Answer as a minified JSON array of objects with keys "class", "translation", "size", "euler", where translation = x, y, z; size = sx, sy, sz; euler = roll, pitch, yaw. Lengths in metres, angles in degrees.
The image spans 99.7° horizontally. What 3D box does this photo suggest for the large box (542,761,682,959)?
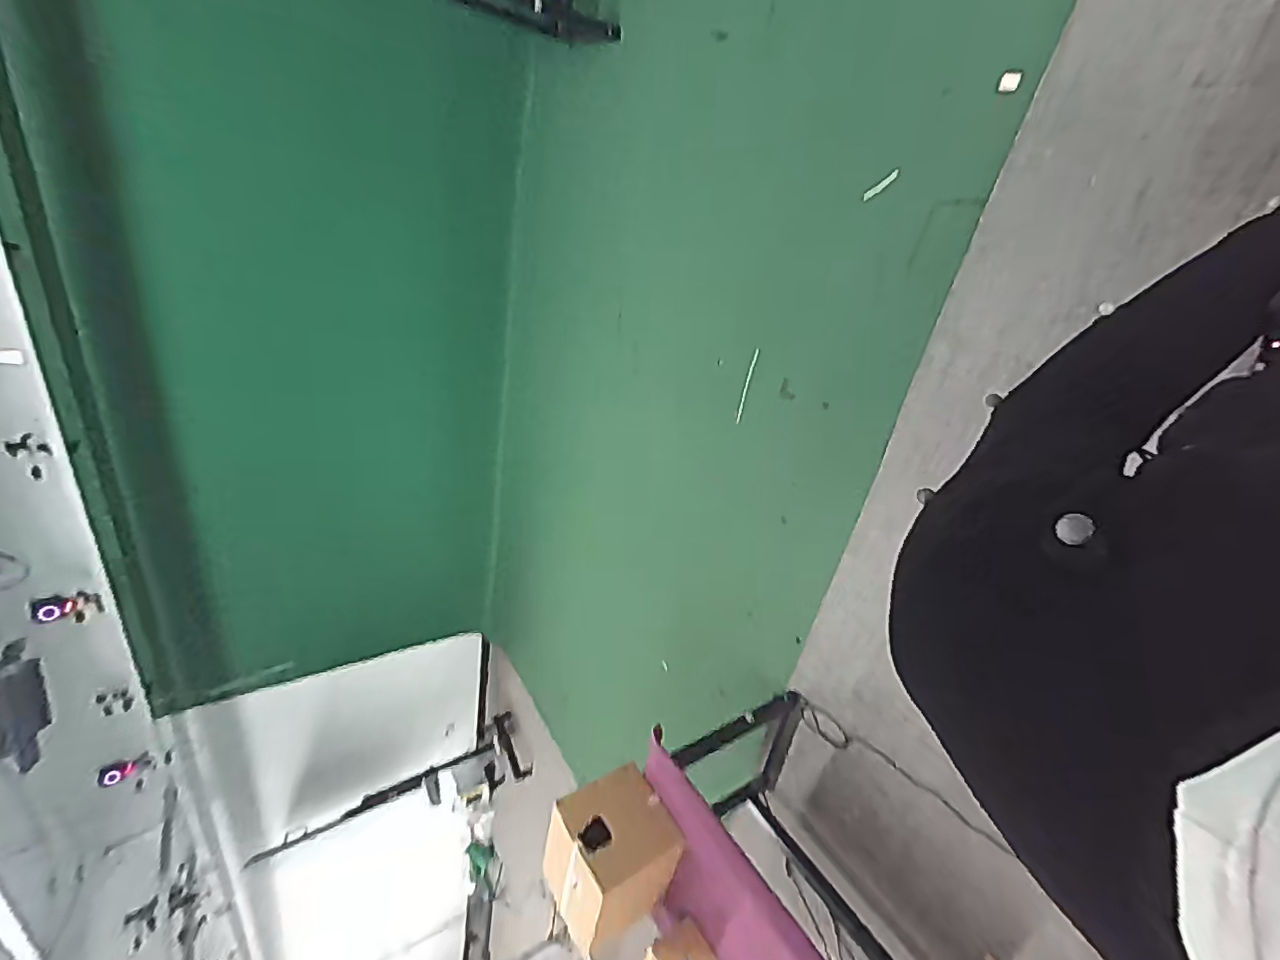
[{"class":"large box","translation":[-0.101,1.235,1.787],"size":[0.320,0.320,0.408],"euler":[39,126,42]}]
